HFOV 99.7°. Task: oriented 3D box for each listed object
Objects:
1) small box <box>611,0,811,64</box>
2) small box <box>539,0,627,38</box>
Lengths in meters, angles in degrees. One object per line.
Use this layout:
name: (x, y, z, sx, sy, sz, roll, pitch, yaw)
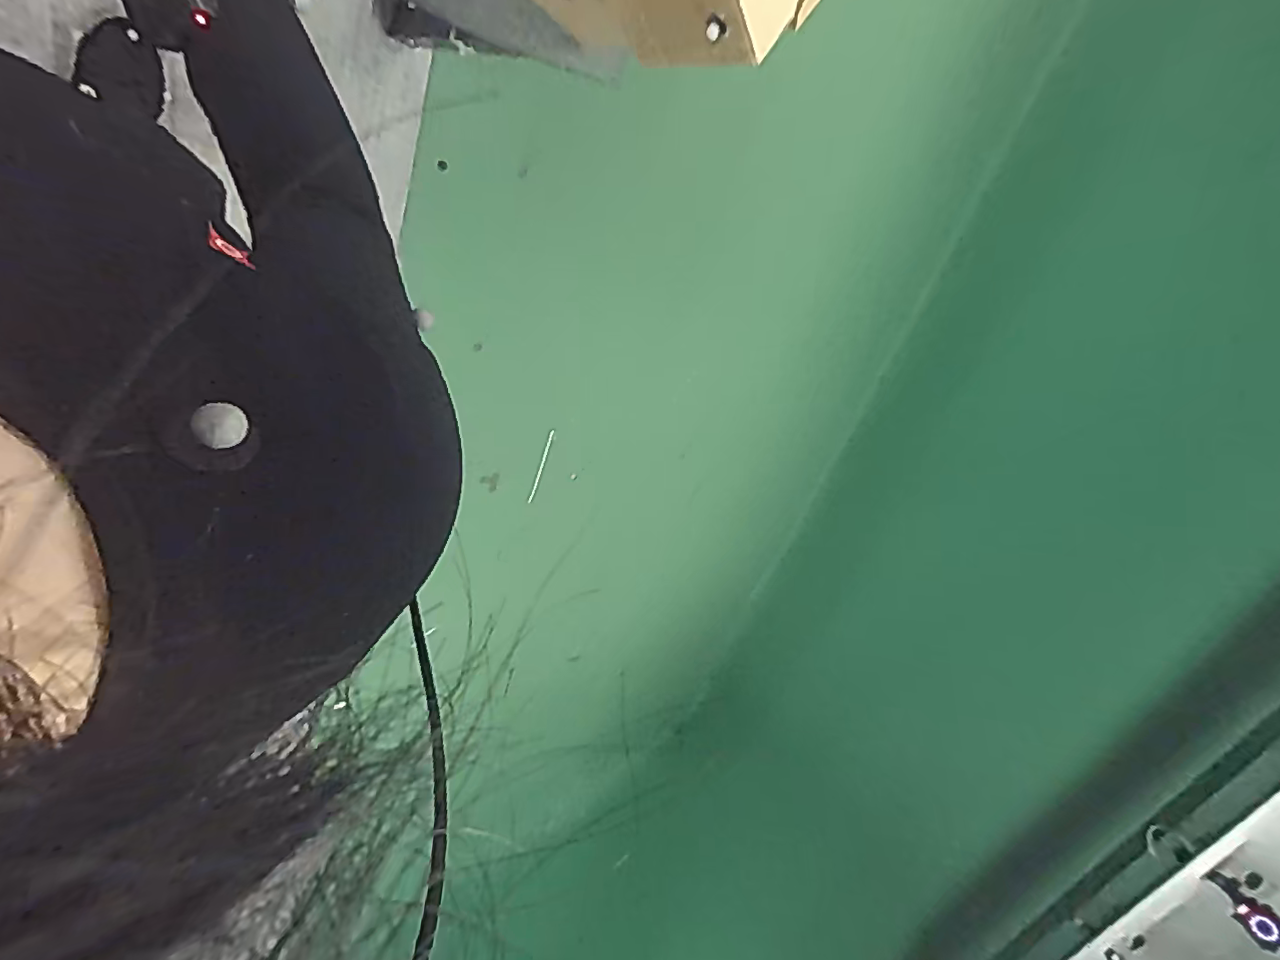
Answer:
small box: (0.061, -0.504, 0.469, 0.168, 0.176, 0.179, -54, 144, -1)
small box: (-0.041, -0.596, 0.559, 0.179, 0.176, 0.168, 5, 114, -48)
